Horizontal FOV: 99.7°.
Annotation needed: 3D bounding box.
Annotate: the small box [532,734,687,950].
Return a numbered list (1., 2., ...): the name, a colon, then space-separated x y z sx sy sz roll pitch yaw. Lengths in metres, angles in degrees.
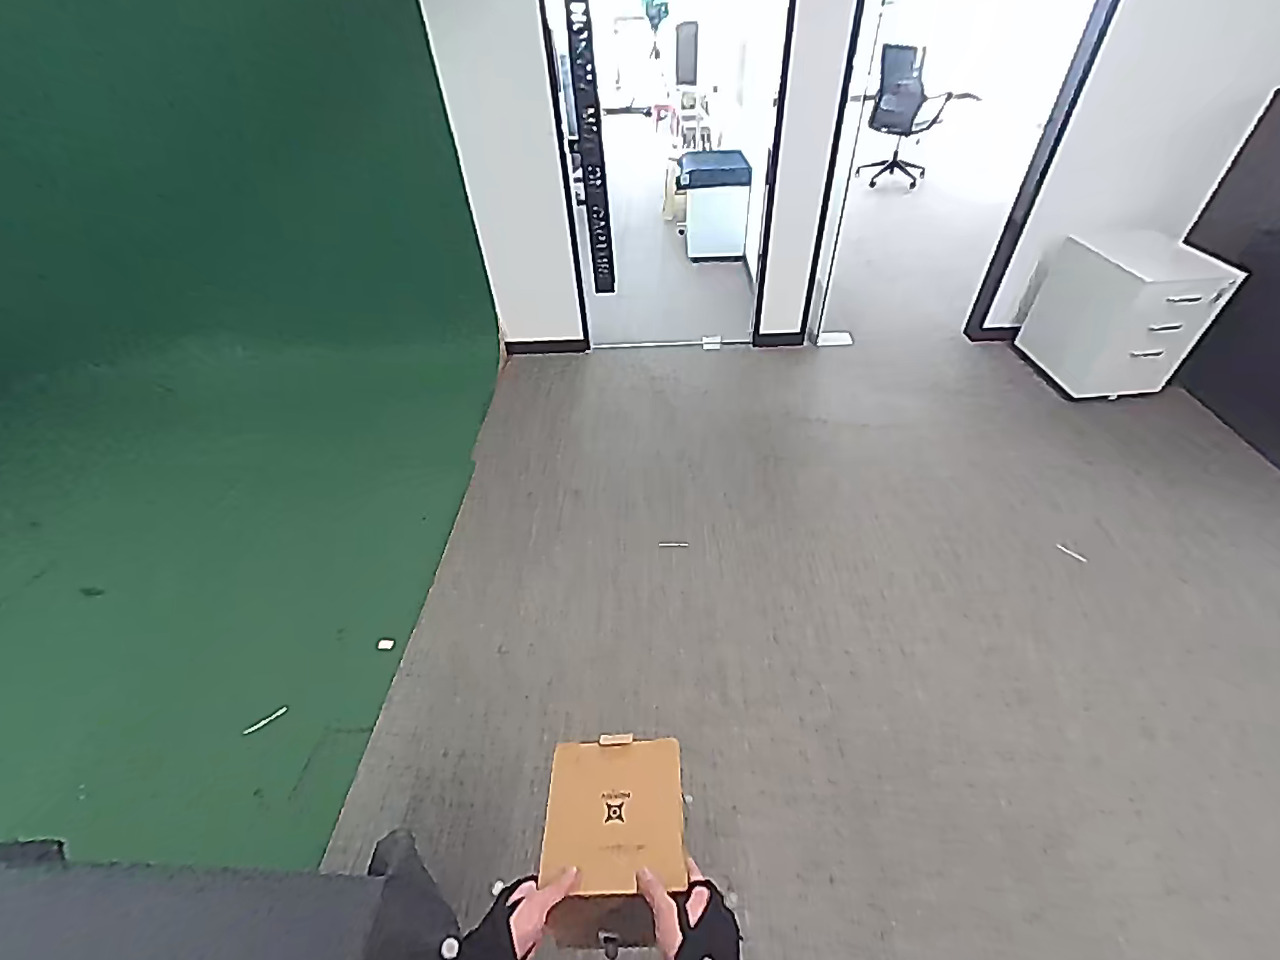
1. small box: -0.027 0.449 0.681 0.168 0.176 0.179 -3 33 4
